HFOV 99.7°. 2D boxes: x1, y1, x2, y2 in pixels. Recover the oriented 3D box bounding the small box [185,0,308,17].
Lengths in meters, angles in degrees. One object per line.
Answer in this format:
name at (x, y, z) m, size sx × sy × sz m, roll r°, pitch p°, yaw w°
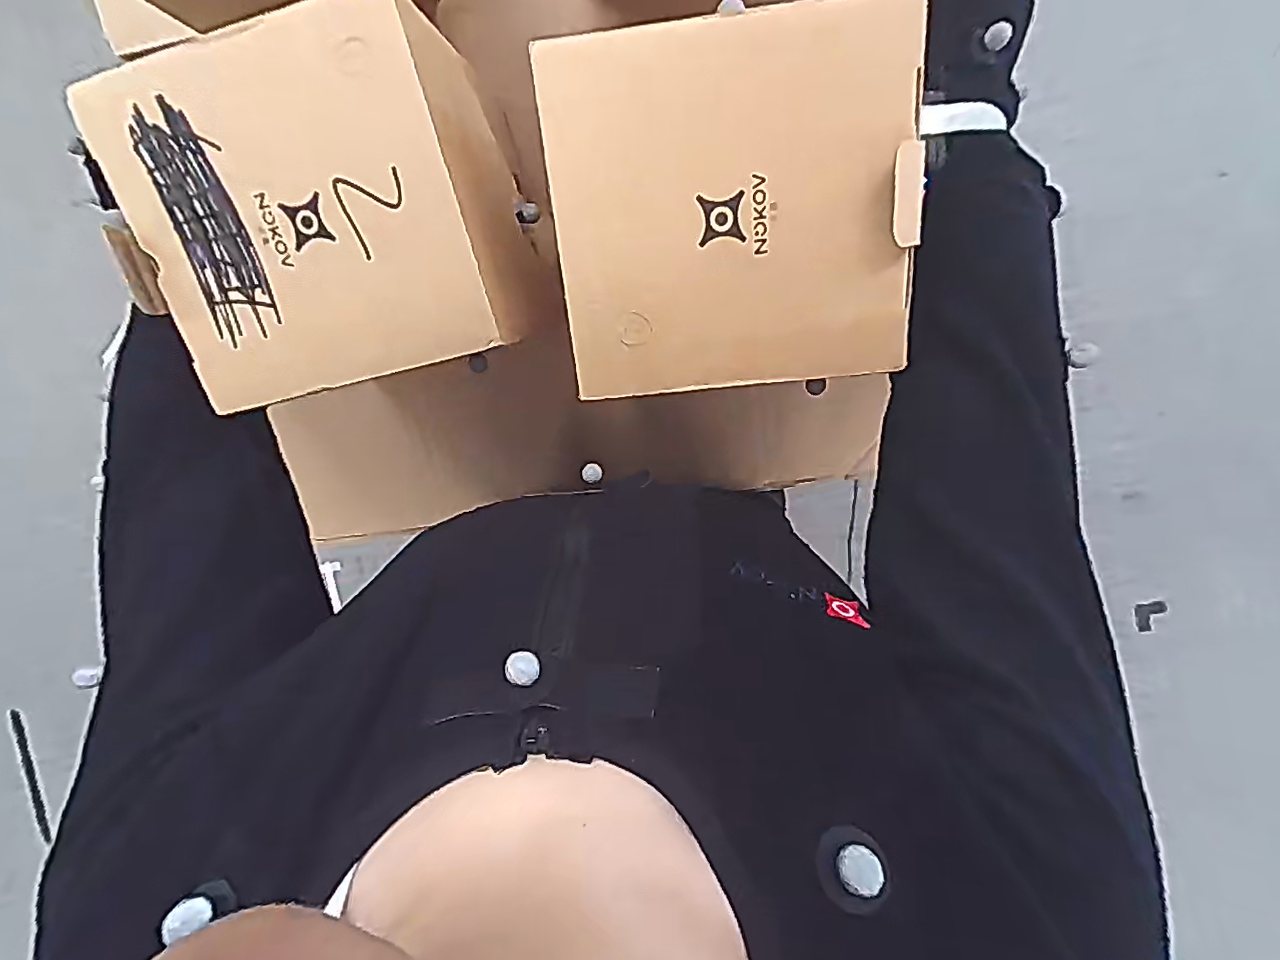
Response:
small box at (-0.243, -0.389, 0.283) m, size 0.168 × 0.176 × 0.179 m, roll -8°, pitch 106°, yaw 6°
